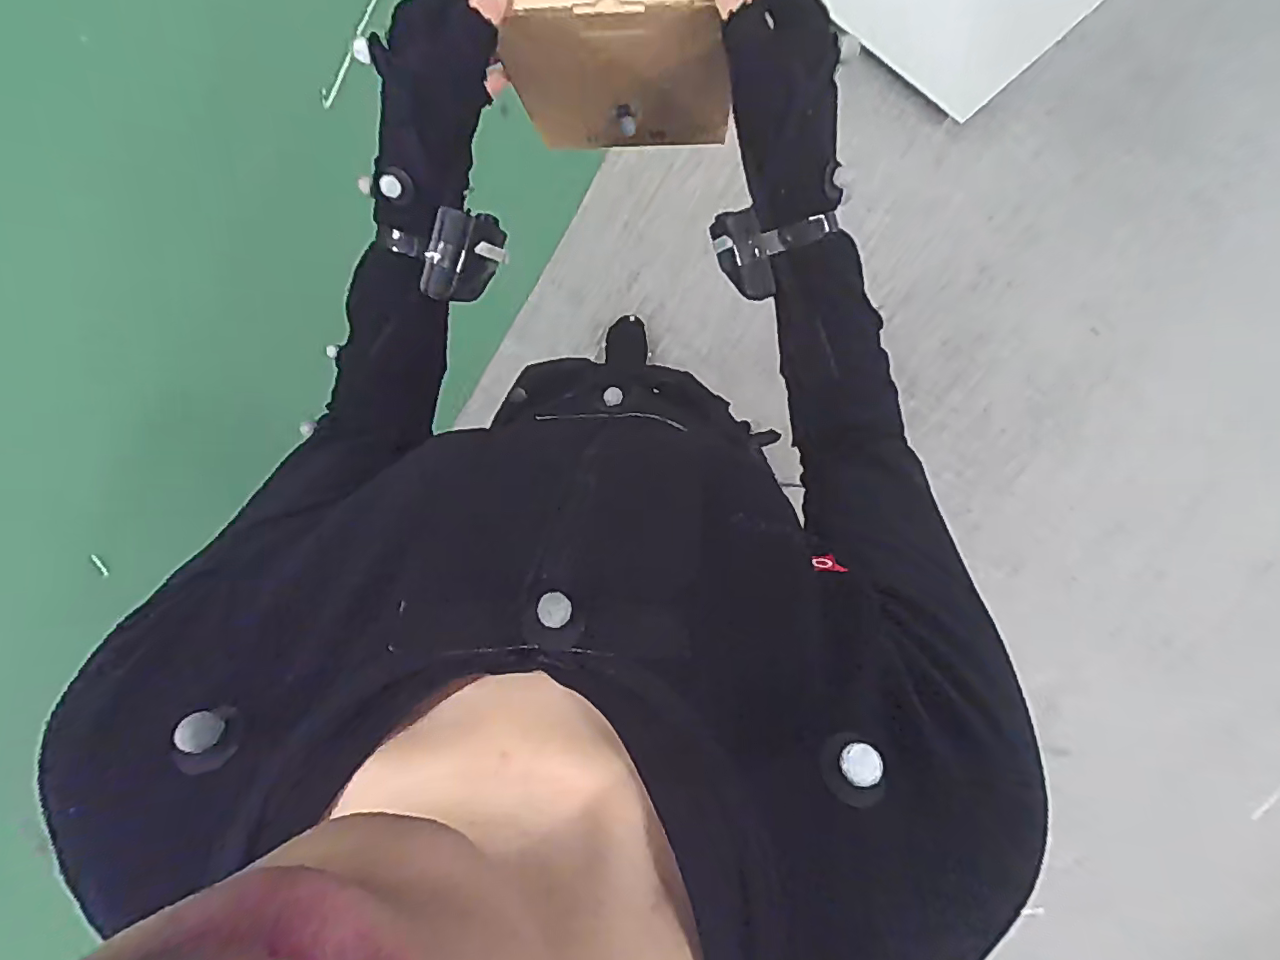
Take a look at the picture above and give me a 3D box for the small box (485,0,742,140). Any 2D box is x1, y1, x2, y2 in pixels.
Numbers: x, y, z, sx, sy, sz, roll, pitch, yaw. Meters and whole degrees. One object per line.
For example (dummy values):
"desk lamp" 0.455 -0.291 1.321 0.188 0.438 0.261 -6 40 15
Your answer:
"small box" -0.011 -0.385 0.396 0.168 0.176 0.179 2 96 5
